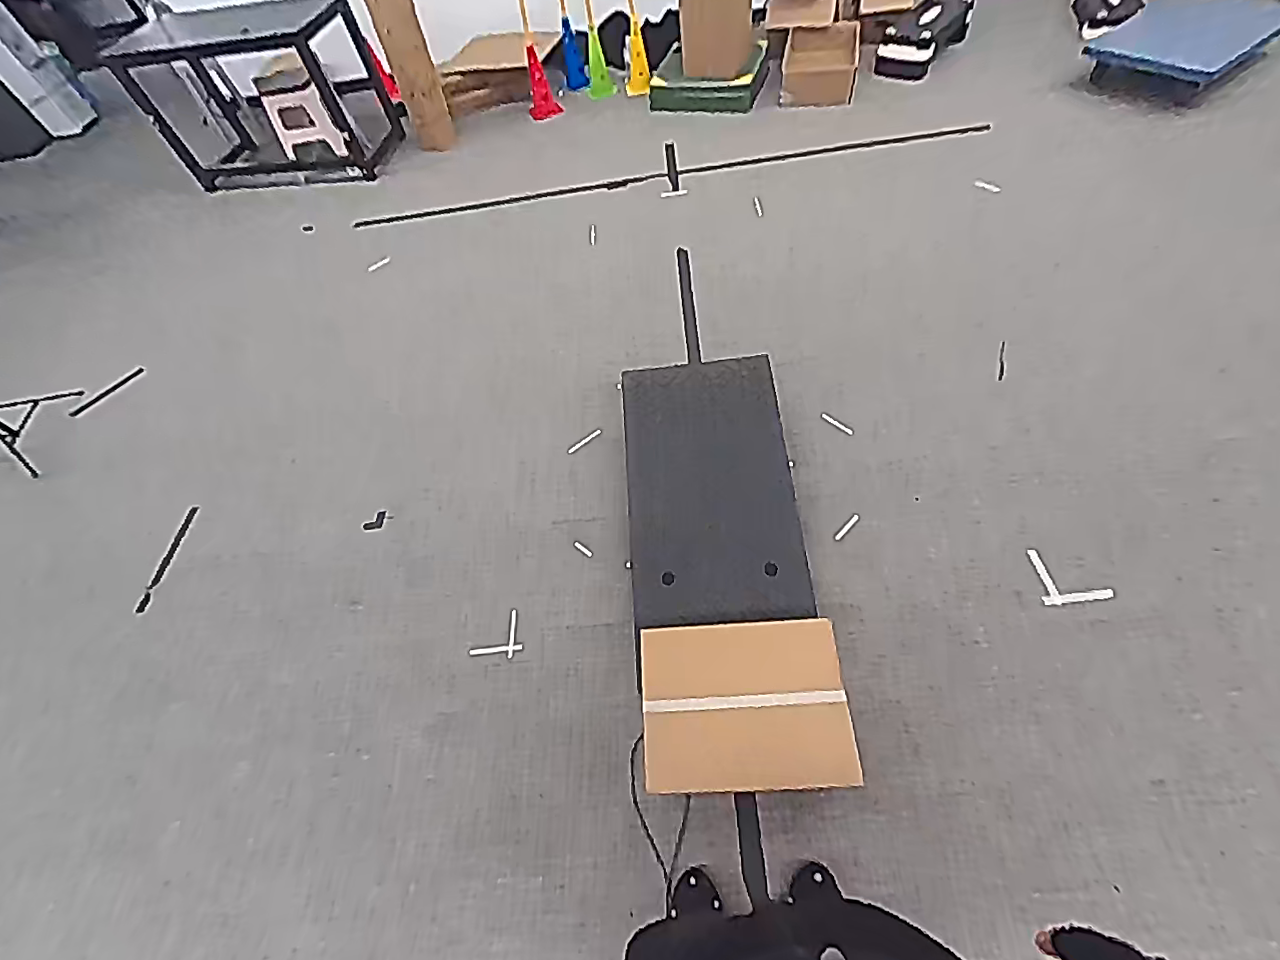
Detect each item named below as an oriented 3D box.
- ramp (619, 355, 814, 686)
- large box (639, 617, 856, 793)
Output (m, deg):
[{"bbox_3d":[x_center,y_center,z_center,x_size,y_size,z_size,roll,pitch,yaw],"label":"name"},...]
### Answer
[{"bbox_3d":[0.203,0.066,1.601,0.509,0.206,0.991,-6,56,2],"label":"ramp"},{"bbox_3d":[0.218,0.516,1.219,0.408,0.320,0.320,-5,59,5],"label":"large box"}]
